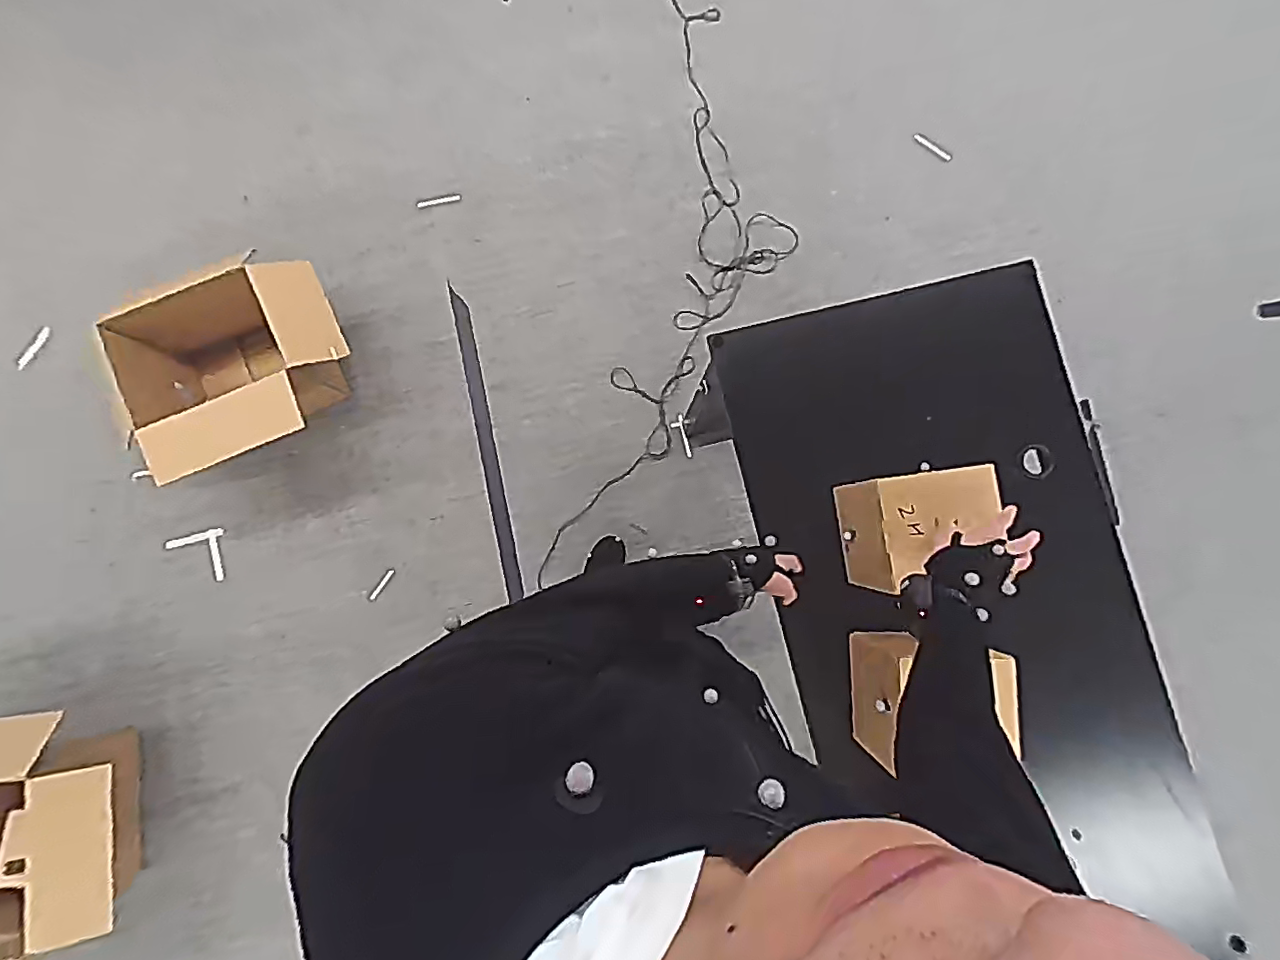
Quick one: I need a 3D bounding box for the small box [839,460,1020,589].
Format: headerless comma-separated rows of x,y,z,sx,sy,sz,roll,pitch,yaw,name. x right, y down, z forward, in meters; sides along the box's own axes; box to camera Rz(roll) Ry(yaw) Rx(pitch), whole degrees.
0.435,0.067,0.837,0.179,0.176,0.168,-8,85,-1,small box

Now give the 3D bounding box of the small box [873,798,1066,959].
0.470,0.608,0.792,0.168,0.176,0.179,-12,85,-2,small box

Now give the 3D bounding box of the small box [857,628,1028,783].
0.444,0.329,0.818,0.168,0.176,0.179,0,85,-1,small box
